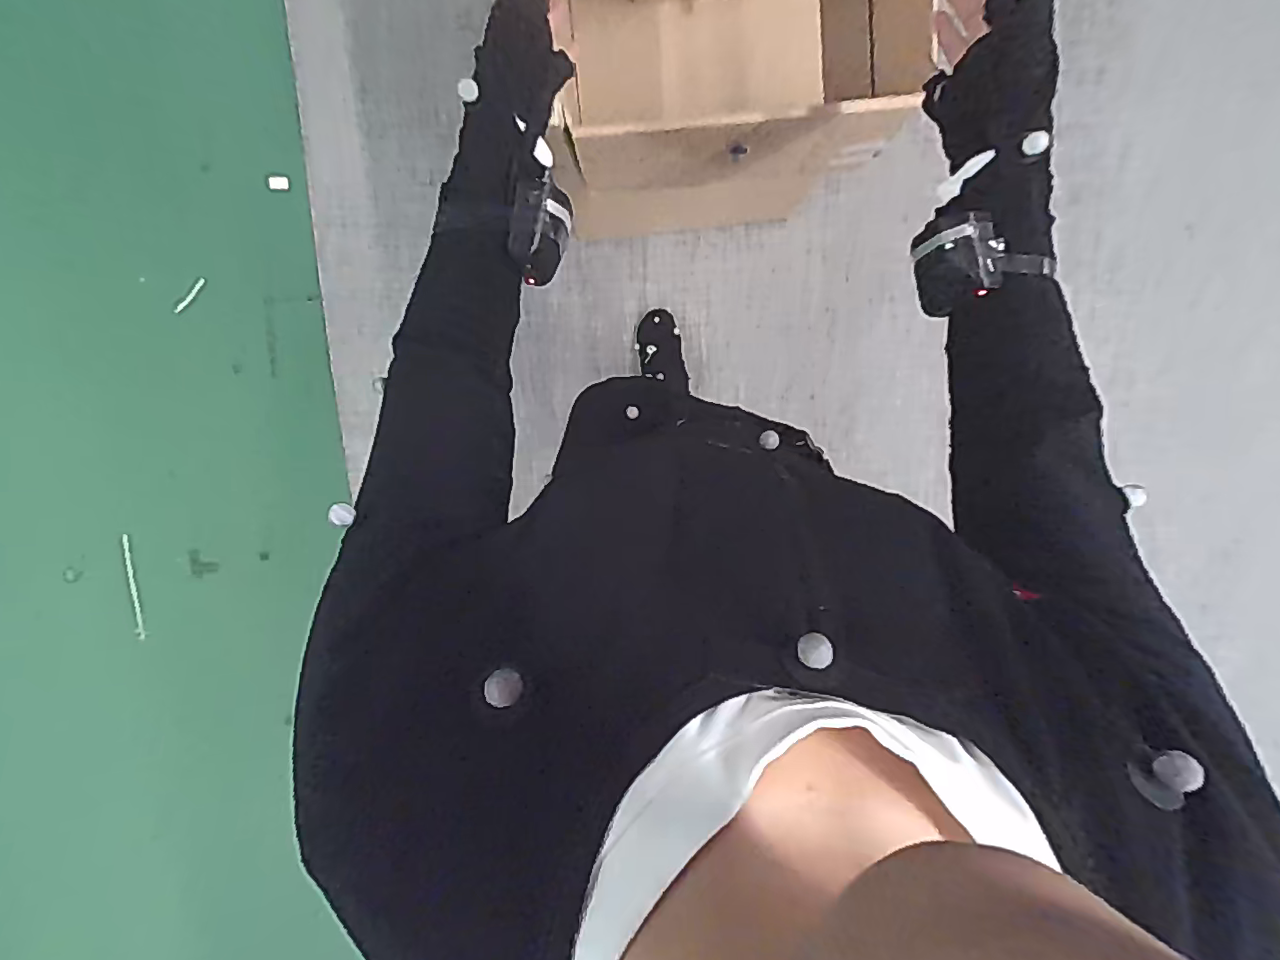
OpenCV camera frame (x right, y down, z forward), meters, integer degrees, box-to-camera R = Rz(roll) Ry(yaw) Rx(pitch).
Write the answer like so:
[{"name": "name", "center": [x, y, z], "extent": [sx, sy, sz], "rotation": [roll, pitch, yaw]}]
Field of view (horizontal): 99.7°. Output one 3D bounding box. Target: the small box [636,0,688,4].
[{"name": "small box", "center": [0.071, -0.656, 0.572], "extent": [0.179, 0.176, 0.168], "rotation": [-5, 97, 1]}]
